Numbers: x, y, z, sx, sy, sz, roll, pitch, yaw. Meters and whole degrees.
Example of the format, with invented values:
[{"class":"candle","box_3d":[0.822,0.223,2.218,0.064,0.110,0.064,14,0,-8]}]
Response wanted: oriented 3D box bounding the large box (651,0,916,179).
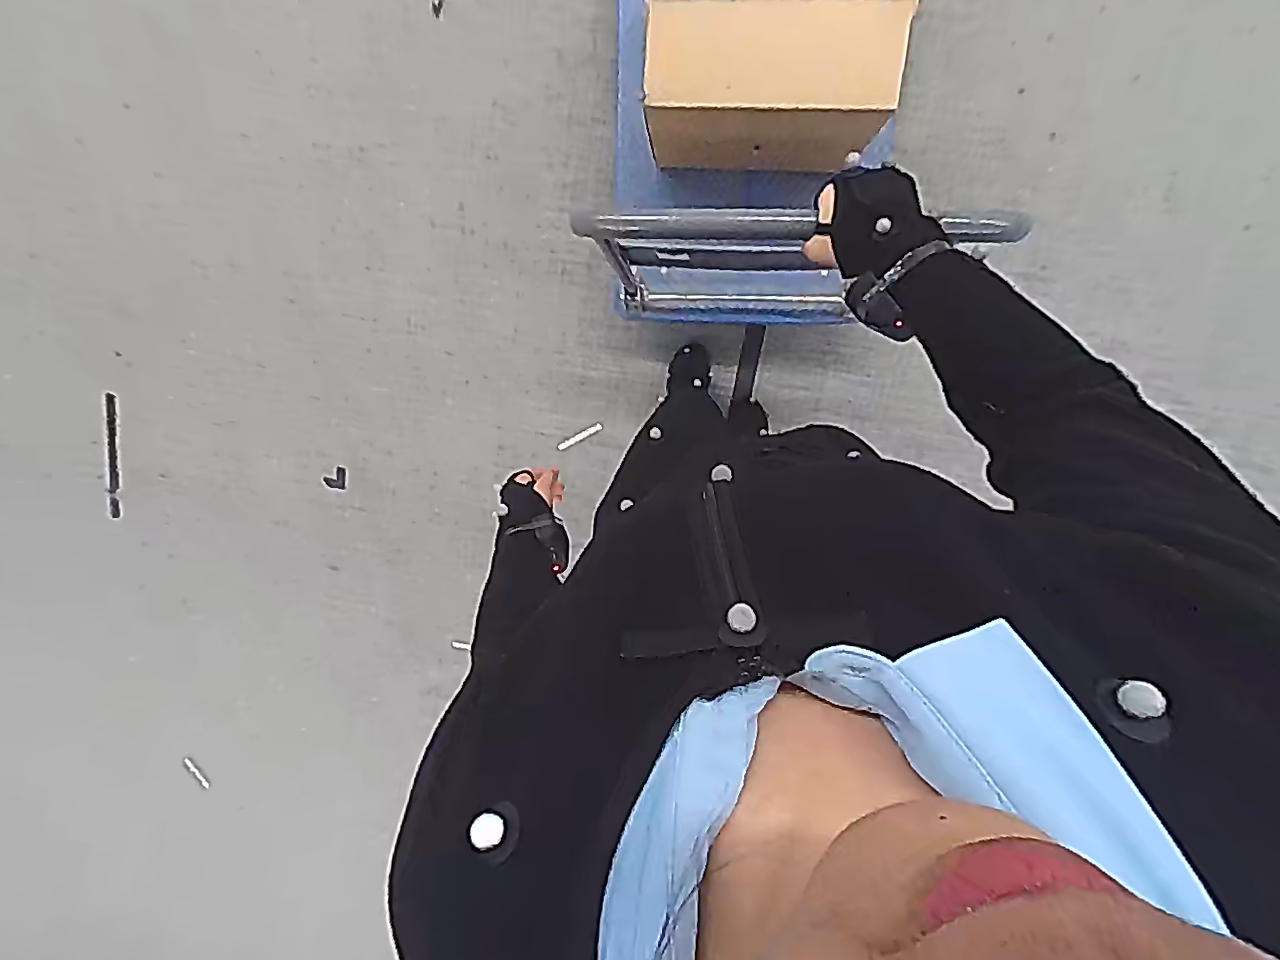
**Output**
[{"class":"large box","box_3d":[0.240,-0.758,0.976,0.408,0.320,0.320,4,101,7]}]
